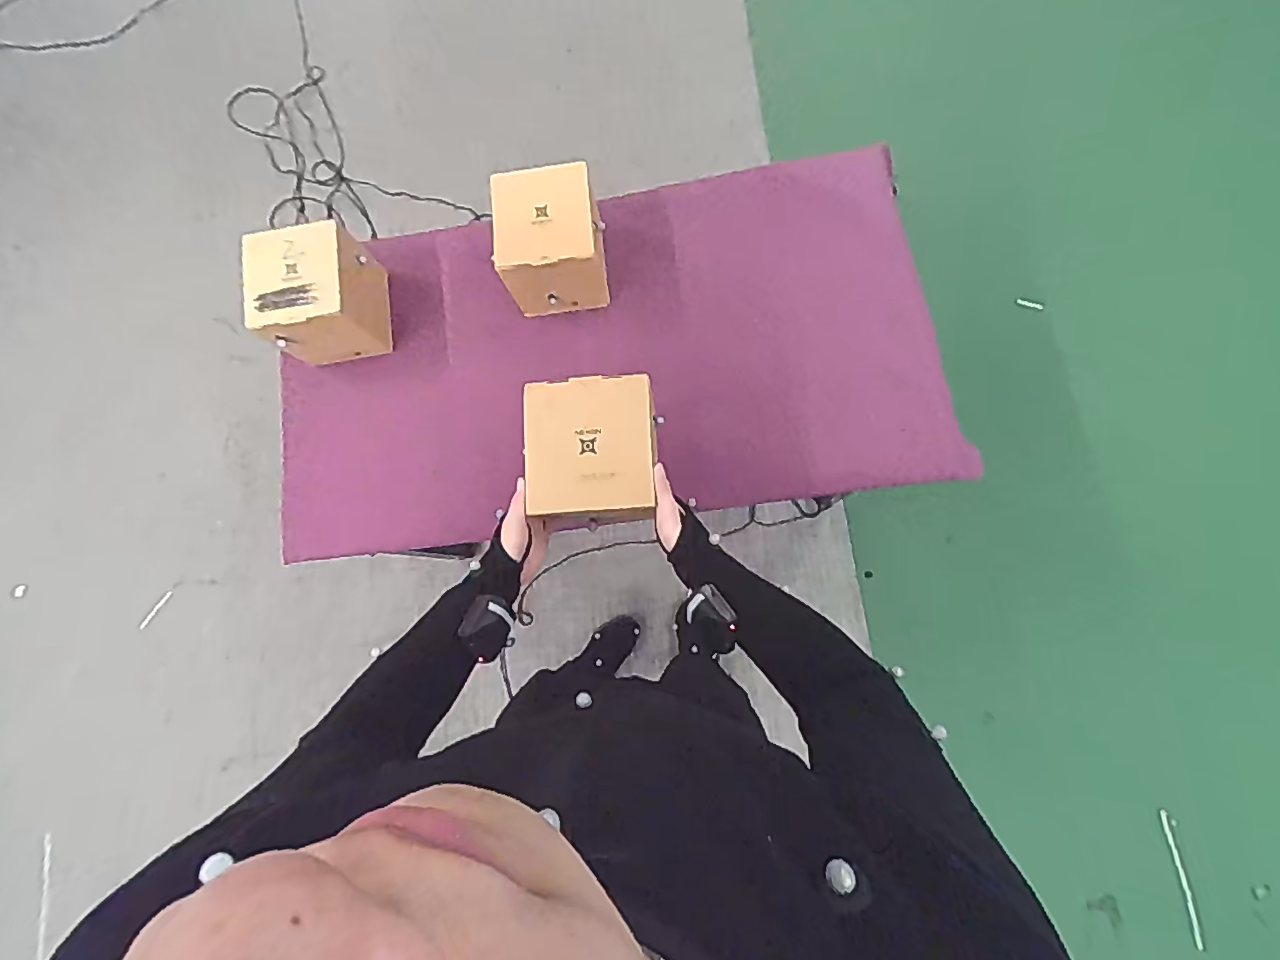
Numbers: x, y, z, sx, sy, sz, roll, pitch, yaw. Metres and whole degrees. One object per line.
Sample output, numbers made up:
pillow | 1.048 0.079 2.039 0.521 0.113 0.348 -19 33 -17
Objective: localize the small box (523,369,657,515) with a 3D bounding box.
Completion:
small box | -0.063 -0.045 0.779 0.168 0.176 0.179 -2 82 5

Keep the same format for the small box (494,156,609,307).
small box | -0.152 -0.437 0.971 0.168 0.176 0.179 -6 82 4
